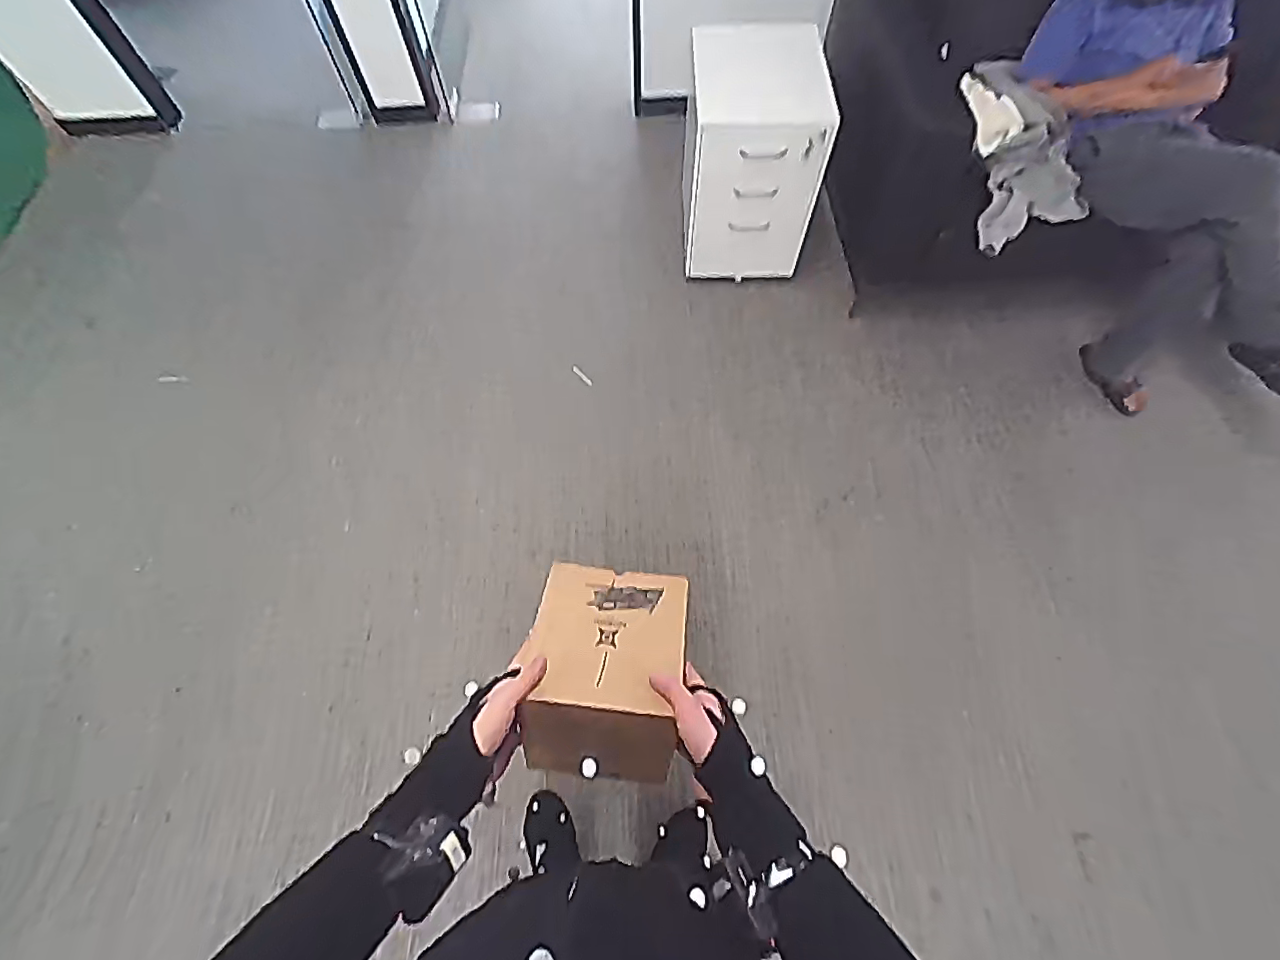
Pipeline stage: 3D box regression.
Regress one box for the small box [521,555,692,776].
[{"bbox_3d":[-0.034,0.217,0.641,0.168,0.176,0.179,7,41,3],"label":"small box"}]
